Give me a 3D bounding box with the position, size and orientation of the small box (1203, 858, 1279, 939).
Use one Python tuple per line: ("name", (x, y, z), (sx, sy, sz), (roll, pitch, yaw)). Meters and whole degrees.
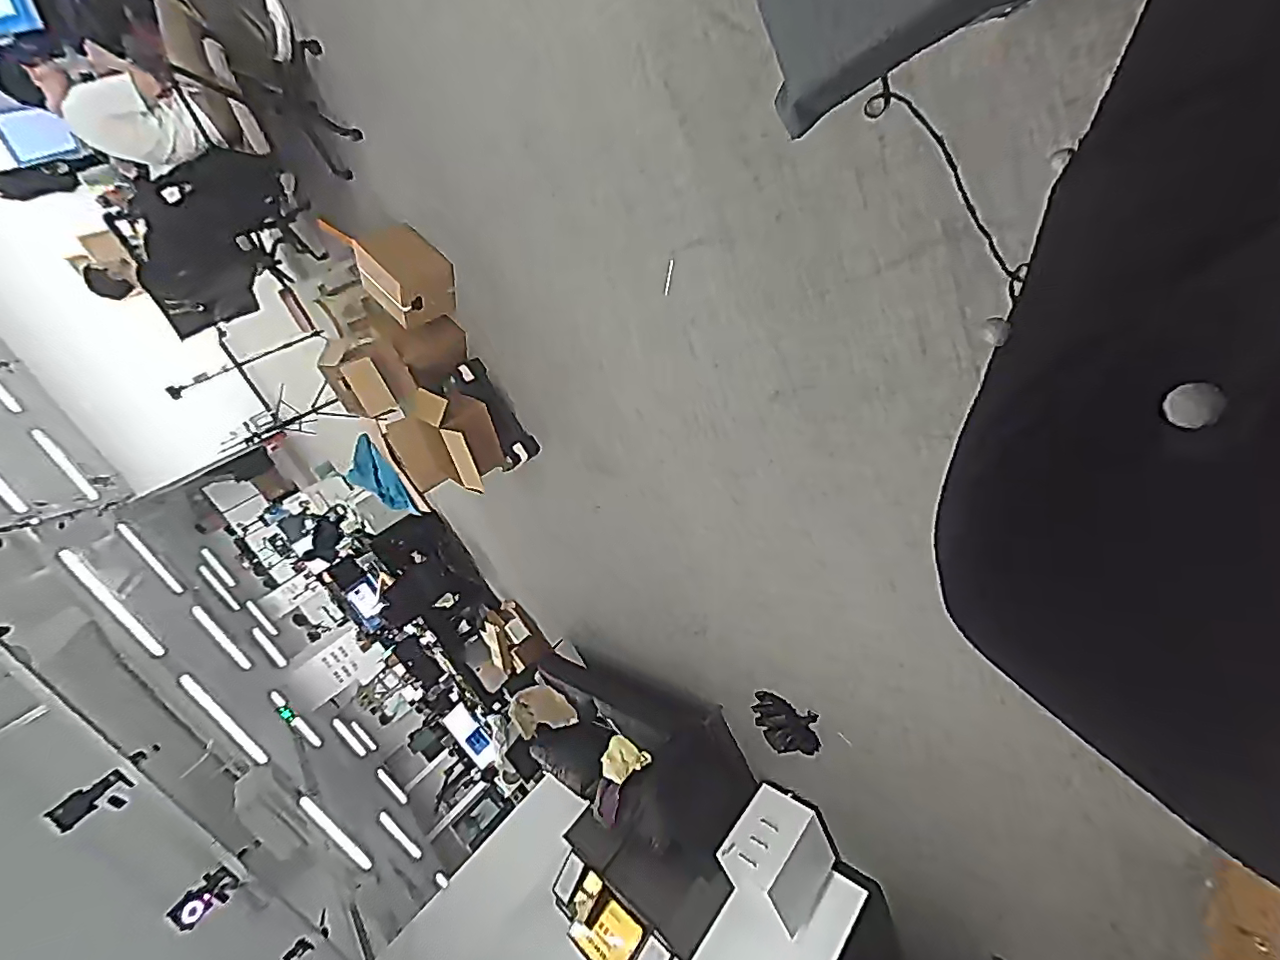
("small box", (1.802, 1.278, 1.599), (0.179, 0.176, 0.168), (4, 125, 51))
